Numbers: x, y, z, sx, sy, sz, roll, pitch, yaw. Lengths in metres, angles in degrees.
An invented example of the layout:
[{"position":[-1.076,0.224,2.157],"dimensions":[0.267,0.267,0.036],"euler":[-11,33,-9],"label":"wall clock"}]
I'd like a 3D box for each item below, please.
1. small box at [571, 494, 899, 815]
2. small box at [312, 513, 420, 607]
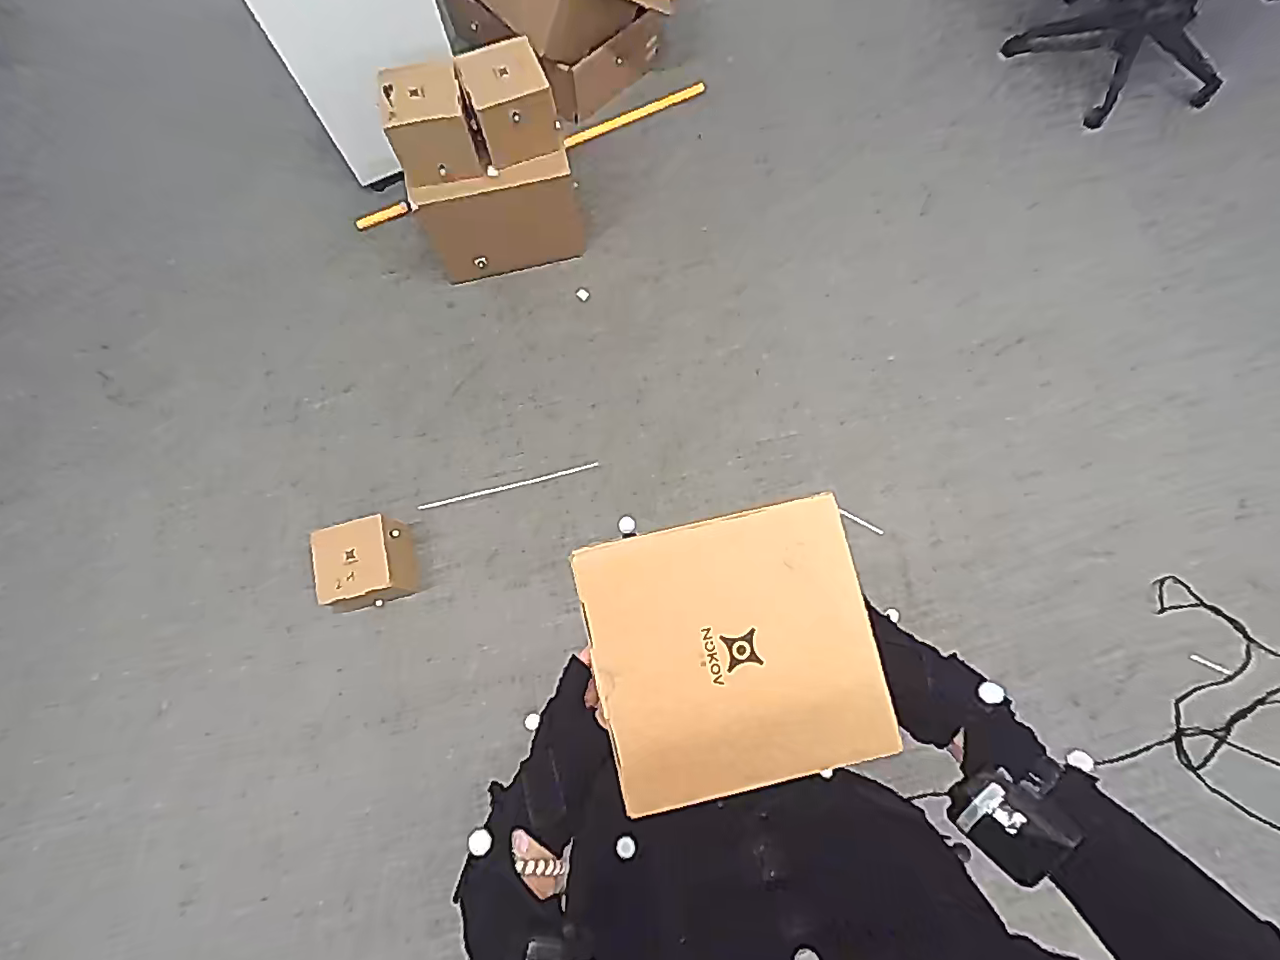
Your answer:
[{"position":[0.056,0.110,0.411],"dimensions":[0.179,0.176,0.168],"euler":[-13,85,-1],"label":"small box"},{"position":[-0.652,0.196,1.298],"dimensions":[0.168,0.176,0.179],"euler":[-15,75,-3],"label":"small box"}]
